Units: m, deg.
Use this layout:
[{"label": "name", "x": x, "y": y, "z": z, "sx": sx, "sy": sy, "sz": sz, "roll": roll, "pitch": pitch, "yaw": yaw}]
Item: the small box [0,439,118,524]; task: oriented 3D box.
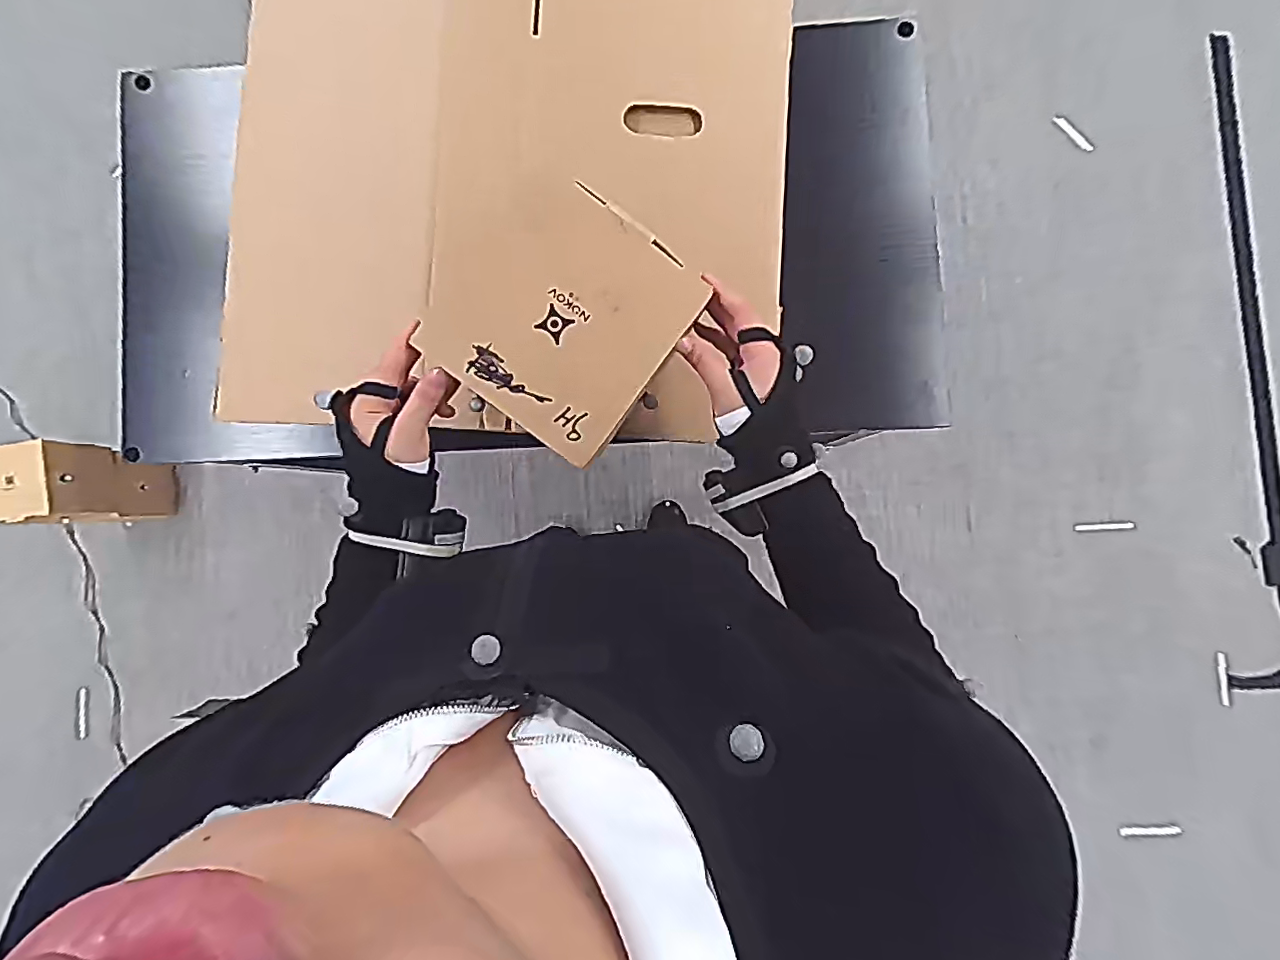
[{"label": "small box", "x": -1.420, "y": 0.009, "z": 1.305, "sx": 0.168, "sy": 0.176, "sz": 0.179, "roll": -10, "pitch": 86, "yaw": 0}]

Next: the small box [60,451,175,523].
[{"label": "small box", "x": -1.413, "y": 0.023, "z": 1.467, "sx": 0.168, "sy": 0.176, "sz": 0.179, "roll": -6, "pitch": 87, "yaw": 2}]
